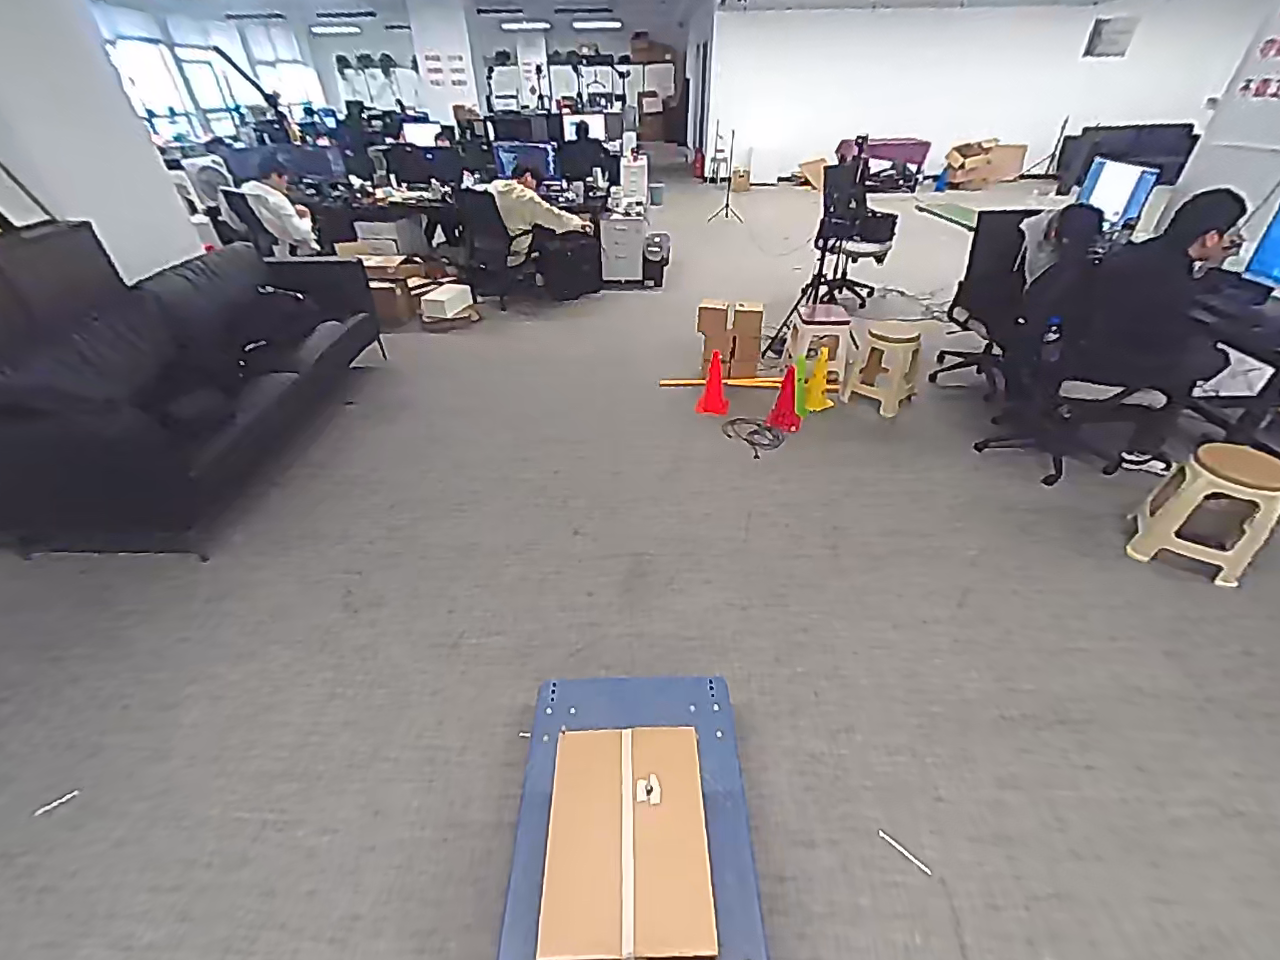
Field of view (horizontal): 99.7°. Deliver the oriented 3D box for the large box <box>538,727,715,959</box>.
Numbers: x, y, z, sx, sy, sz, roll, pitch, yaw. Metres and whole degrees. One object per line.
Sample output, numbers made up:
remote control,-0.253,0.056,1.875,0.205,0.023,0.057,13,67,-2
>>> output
large box,-0.025,0.813,1.170,0.320,0.320,0.408,-2,37,0
